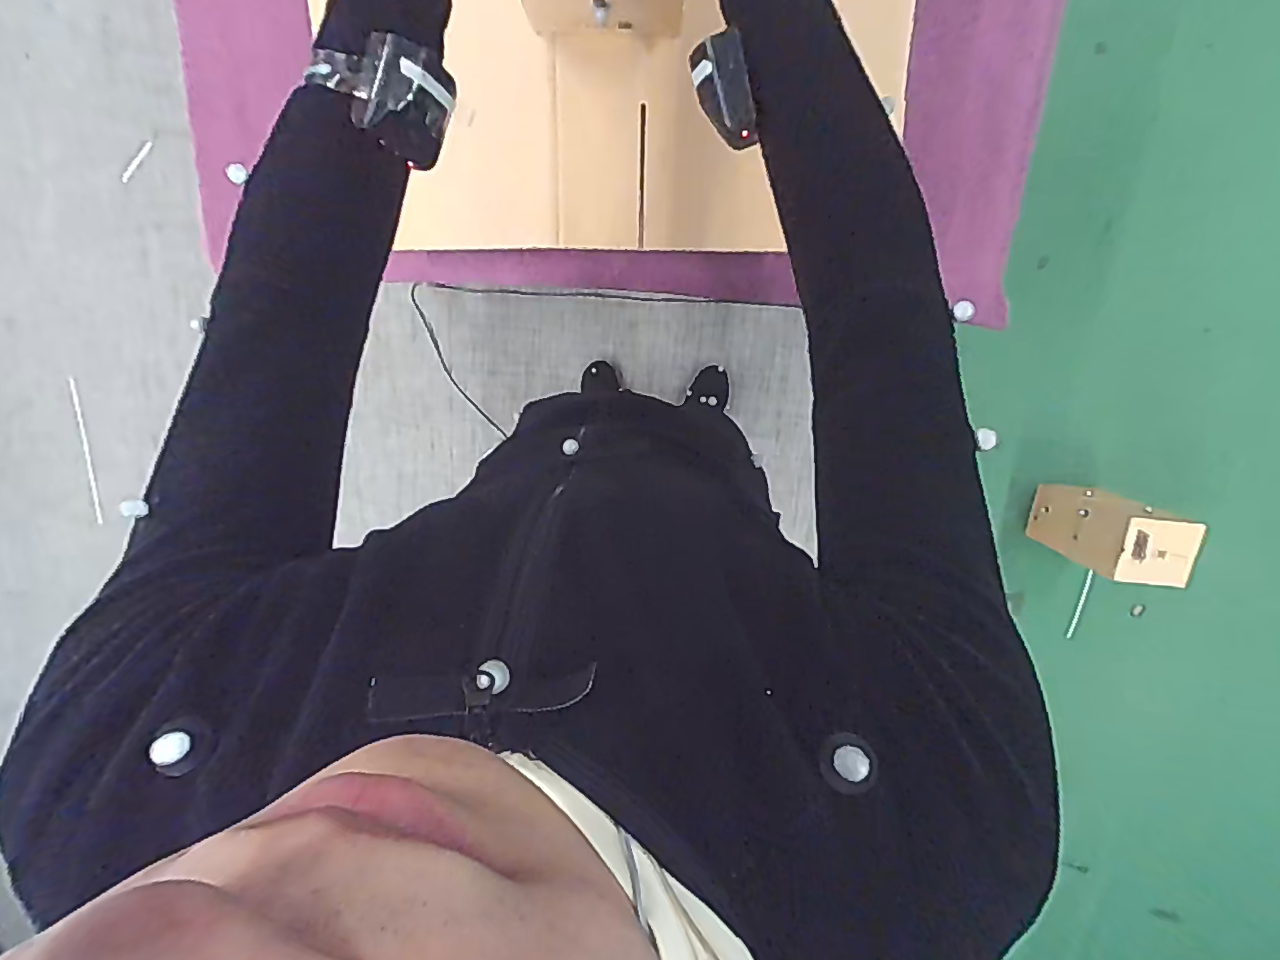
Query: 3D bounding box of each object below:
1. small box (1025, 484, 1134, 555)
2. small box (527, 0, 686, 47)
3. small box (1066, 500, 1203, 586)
[{"bbox_3d":[1.252,0.114,1.536,0.179,0.176,0.168,5,104,2],"label":"small box"},{"bbox_3d":[-0.034,-0.546,0.496,0.168,0.176,0.179,2,105,0],"label":"small box"},{"bbox_3d":[1.244,0.153,1.378,0.179,0.176,0.168,5,105,1],"label":"small box"}]
